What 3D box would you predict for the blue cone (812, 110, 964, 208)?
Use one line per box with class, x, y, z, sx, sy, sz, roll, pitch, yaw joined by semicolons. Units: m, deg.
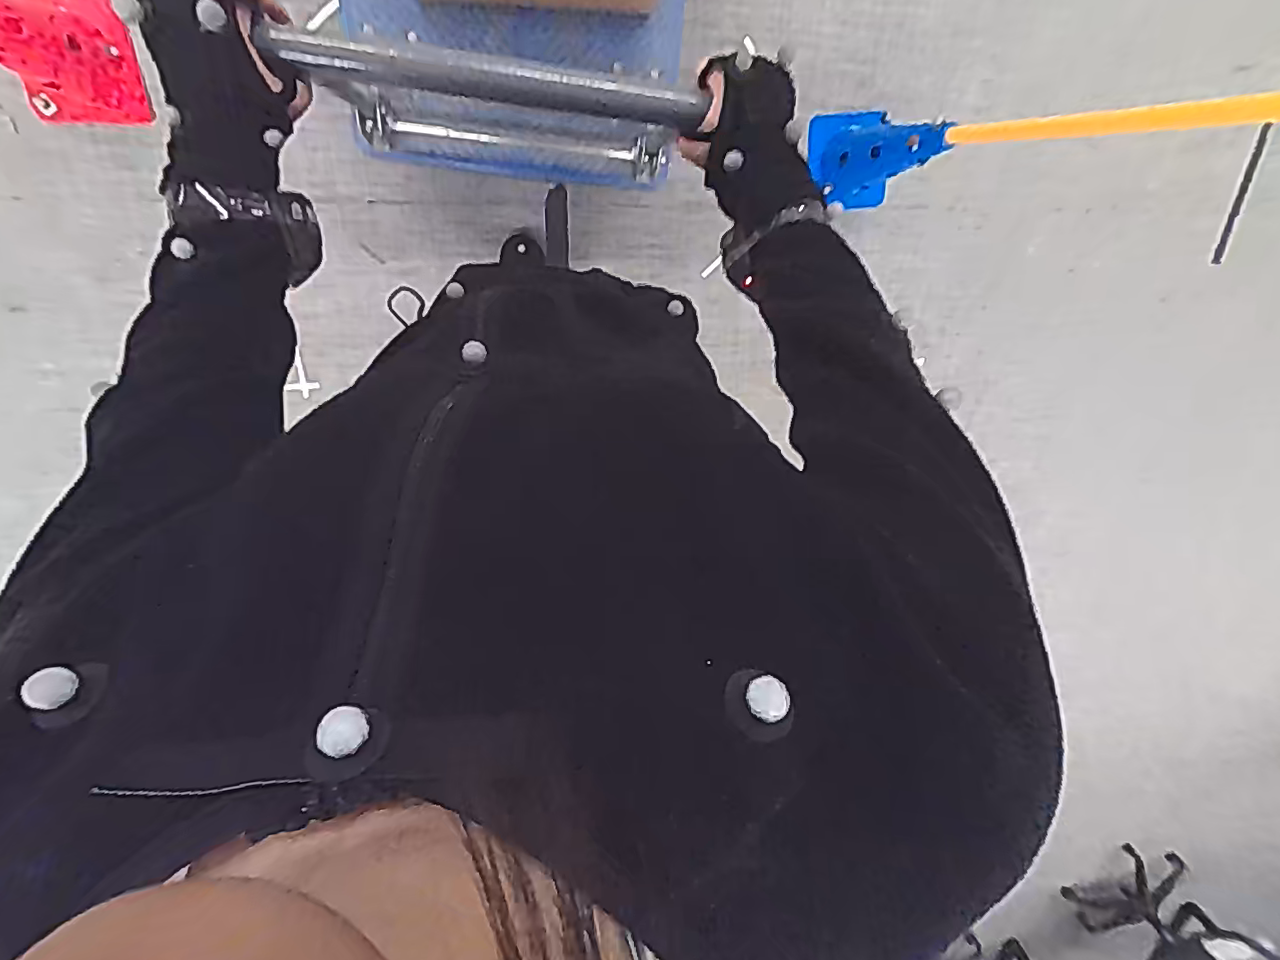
blue cone;0.519;-0.683;1.113;0.193;0.380;0.192;-7;113;-8
